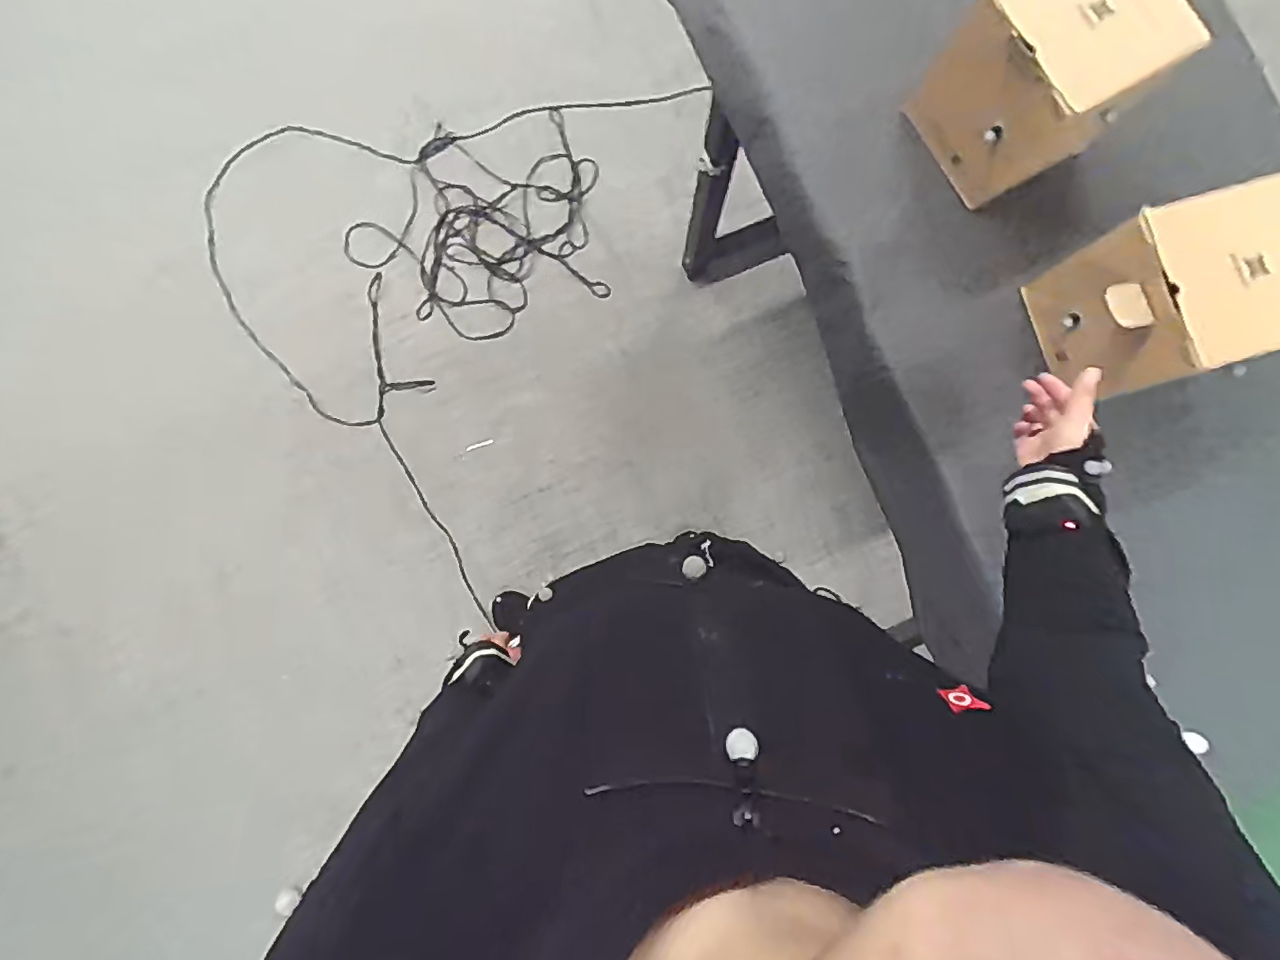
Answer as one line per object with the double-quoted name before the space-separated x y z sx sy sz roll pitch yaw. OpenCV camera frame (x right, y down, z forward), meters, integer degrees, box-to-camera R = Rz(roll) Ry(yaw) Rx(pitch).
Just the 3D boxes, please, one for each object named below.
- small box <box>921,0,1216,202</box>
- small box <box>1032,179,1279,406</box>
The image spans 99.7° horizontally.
"small box" 0.459 -0.461 0.617 0.179 0.176 0.168 -30 87 -5
"small box" 0.590 -0.193 0.593 0.179 0.176 0.168 -16 85 -2
